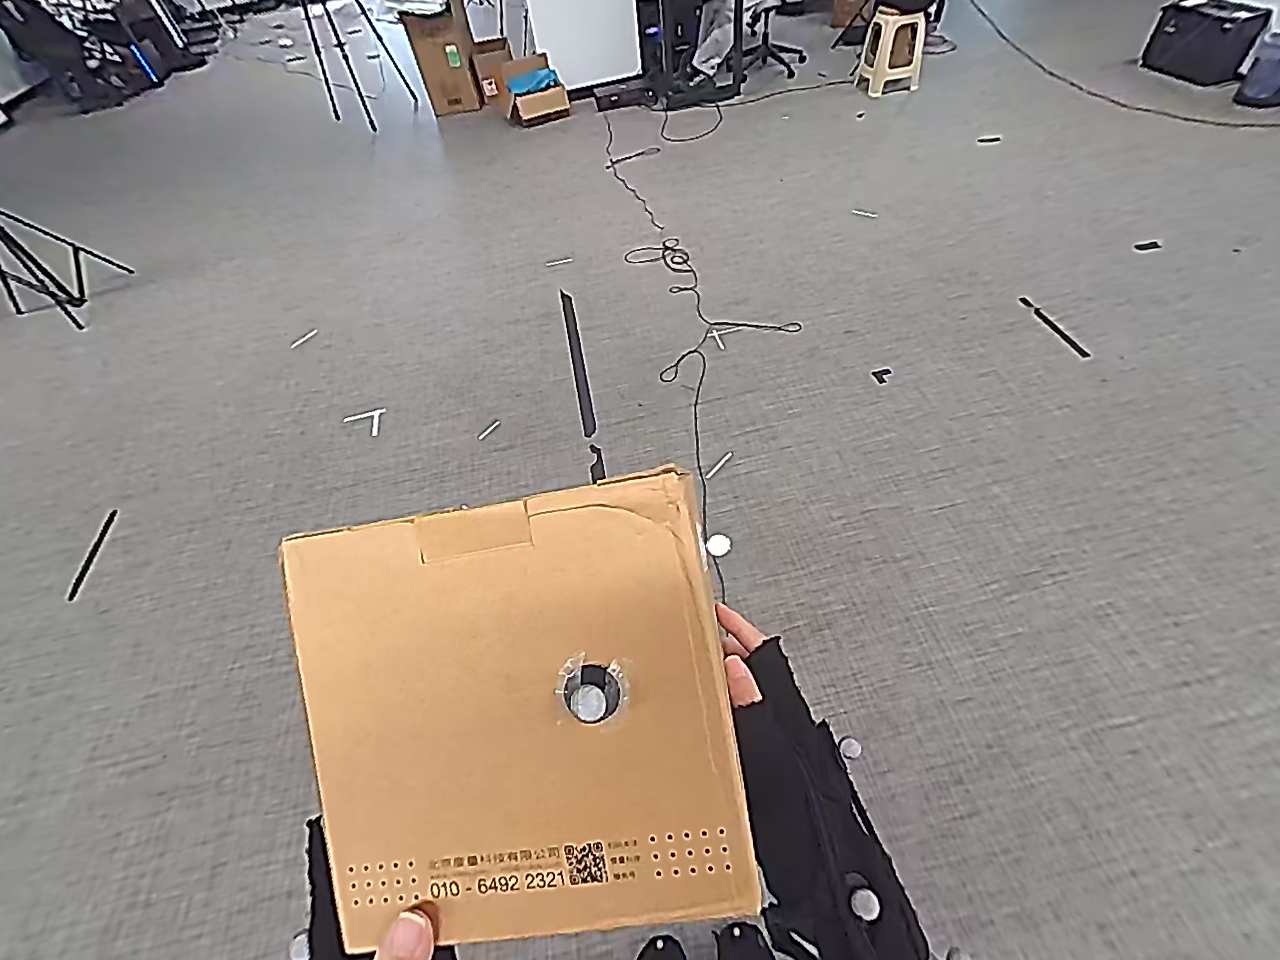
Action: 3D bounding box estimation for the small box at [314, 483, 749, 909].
[{"bbox_3d":[-0.037,0.101,0.305,0.168,0.179,0.176,-10,89,8],"label":"small box"}]
